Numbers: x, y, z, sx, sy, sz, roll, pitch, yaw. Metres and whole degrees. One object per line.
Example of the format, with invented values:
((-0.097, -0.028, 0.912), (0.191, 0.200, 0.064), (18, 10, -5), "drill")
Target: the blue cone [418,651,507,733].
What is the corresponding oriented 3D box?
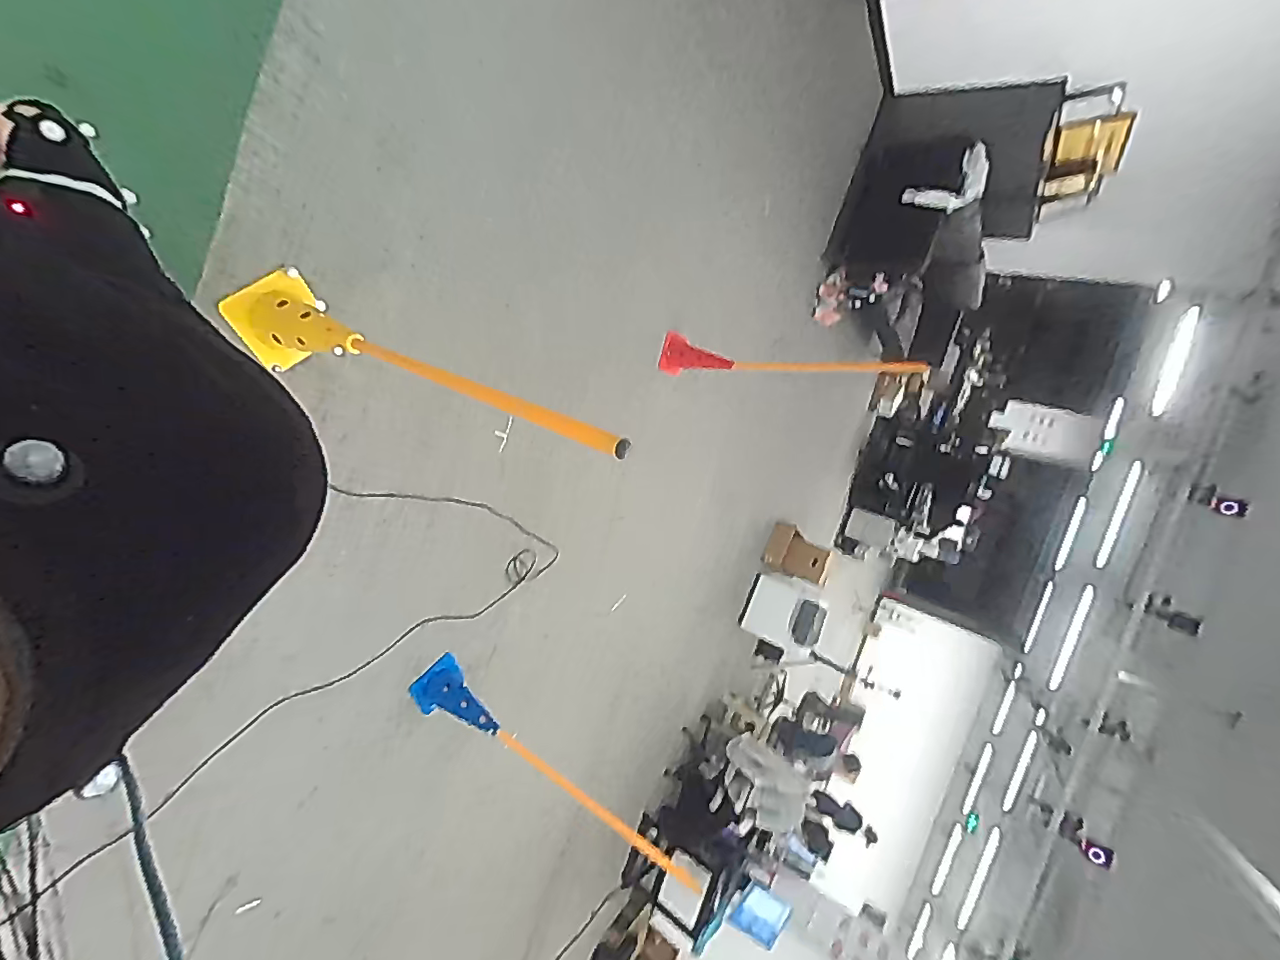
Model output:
((-0.641, 0.834, 2.056), (0.192, 0.380, 0.193), (-45, 143, -35), "blue cone")
